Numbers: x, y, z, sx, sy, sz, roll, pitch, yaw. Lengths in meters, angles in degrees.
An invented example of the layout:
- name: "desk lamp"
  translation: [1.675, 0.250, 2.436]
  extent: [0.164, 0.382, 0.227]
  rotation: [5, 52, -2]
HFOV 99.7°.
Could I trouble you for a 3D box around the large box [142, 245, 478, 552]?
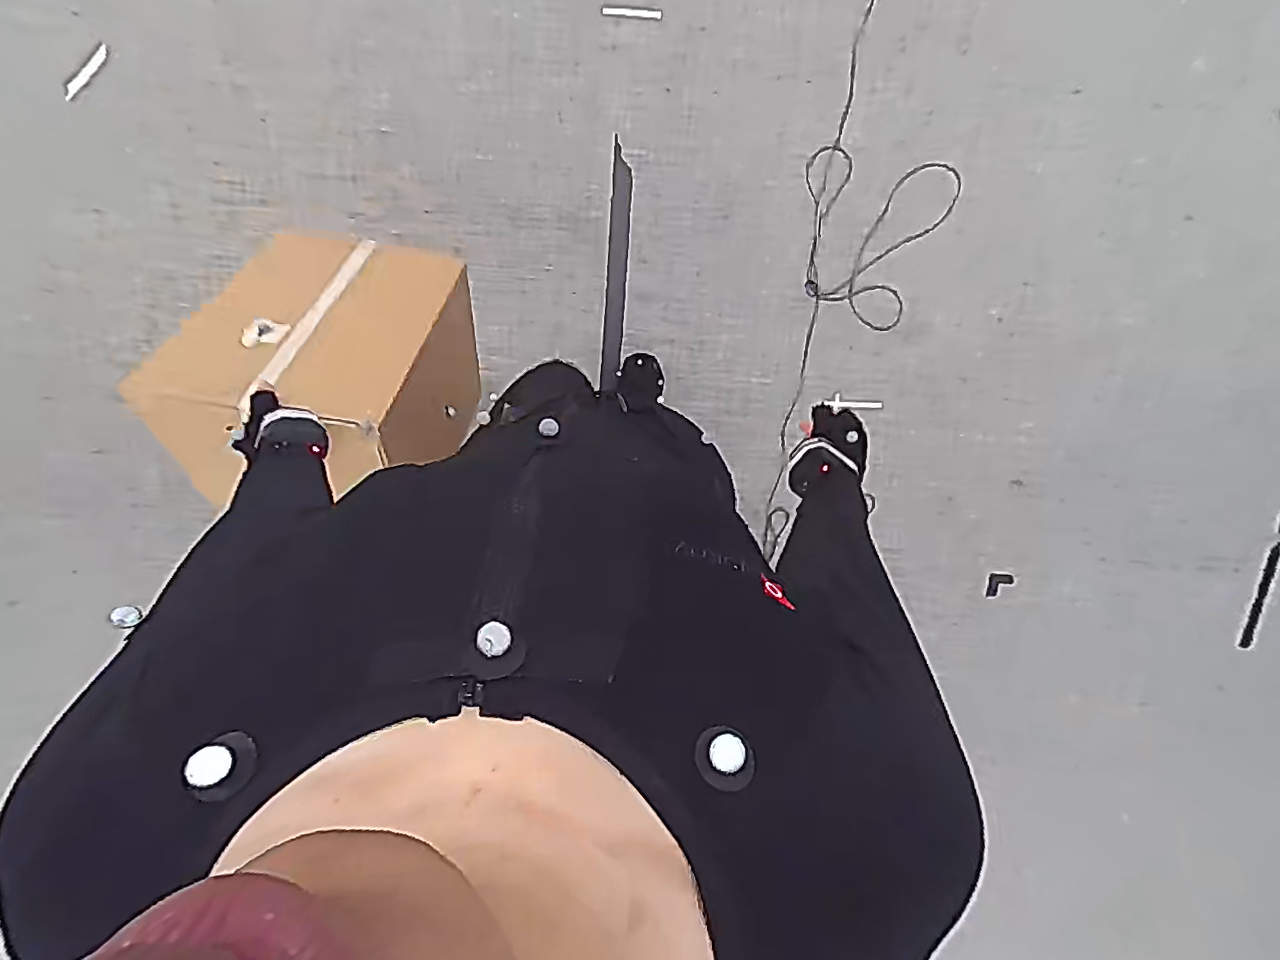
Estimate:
- name: "large box"
  translation: [-0.488, -0.139, 0.926]
  extent: [0.320, 0.408, 0.320]
  rotation: [7, 141, -3]
